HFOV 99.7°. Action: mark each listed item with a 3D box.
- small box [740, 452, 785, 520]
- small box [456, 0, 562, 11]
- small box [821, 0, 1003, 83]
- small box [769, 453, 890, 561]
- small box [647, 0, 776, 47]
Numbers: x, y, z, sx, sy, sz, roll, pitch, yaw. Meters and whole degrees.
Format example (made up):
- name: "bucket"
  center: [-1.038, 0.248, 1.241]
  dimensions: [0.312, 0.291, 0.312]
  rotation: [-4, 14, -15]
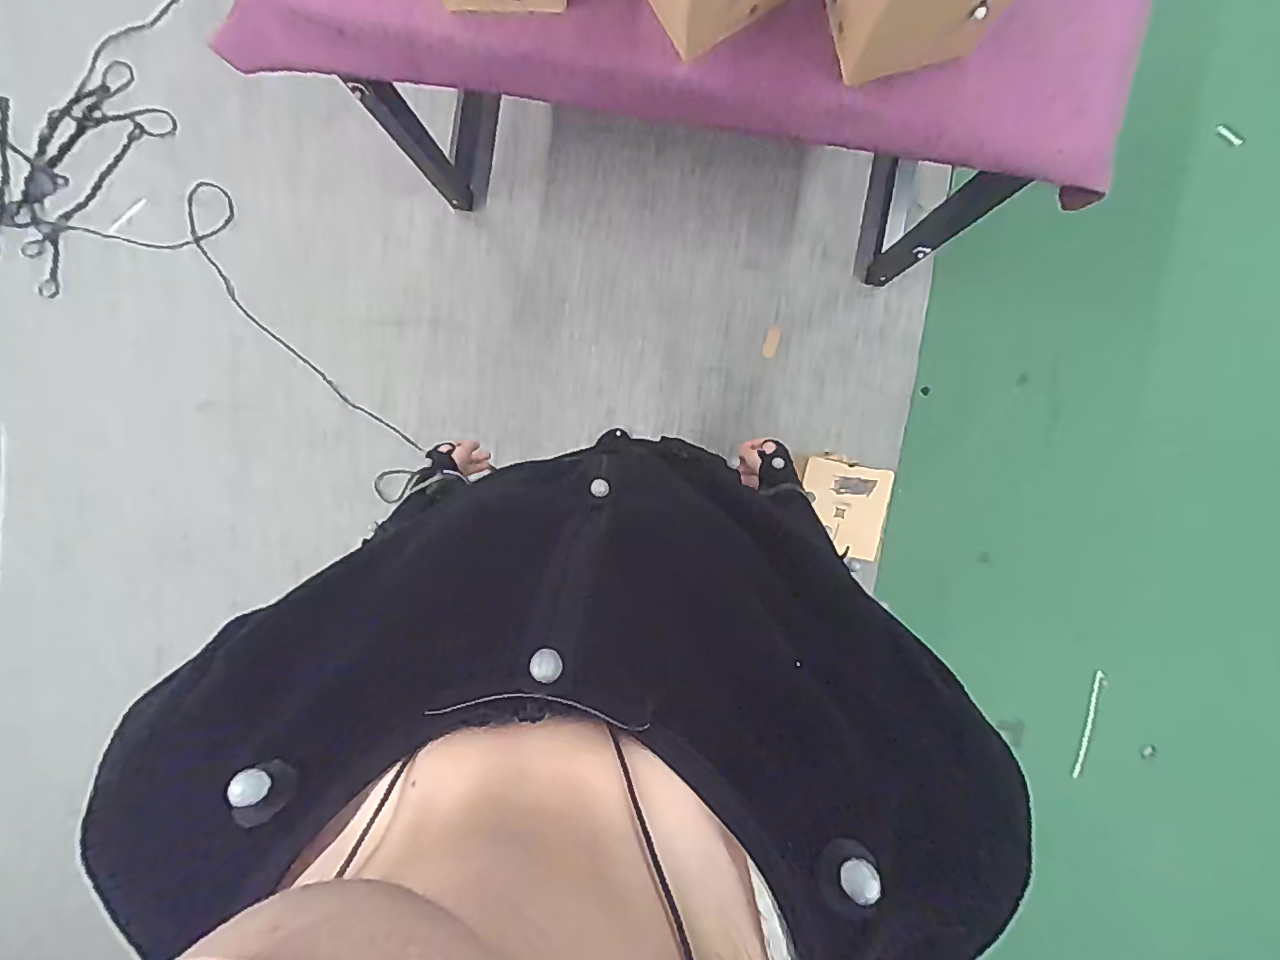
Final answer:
- name: "small box"
  center: [0.378, 0.031, 1.420]
  dimensions: [0.179, 0.176, 0.168]
  rotation: [20, 94, 0]
- name: "small box"
  center: [-0.183, -0.718, 0.653]
  dimensions: [0.168, 0.176, 0.179]
  rotation: [2, 92, 1]
- name: "small box"
  center: [0.334, -0.629, 0.647]
  dimensions: [0.179, 0.176, 0.168]
  rotation: [-14, 91, 2]
- name: "small box"
  center: [0.372, 0.046, 1.092]
  dimensions: [0.168, 0.176, 0.179]
  rotation: [12, 95, 0]
- name: "small box"
  center: [0.082, -0.677, 0.648]
  dimensions: [0.168, 0.176, 0.179]
  rotation: [-31, 92, 2]
